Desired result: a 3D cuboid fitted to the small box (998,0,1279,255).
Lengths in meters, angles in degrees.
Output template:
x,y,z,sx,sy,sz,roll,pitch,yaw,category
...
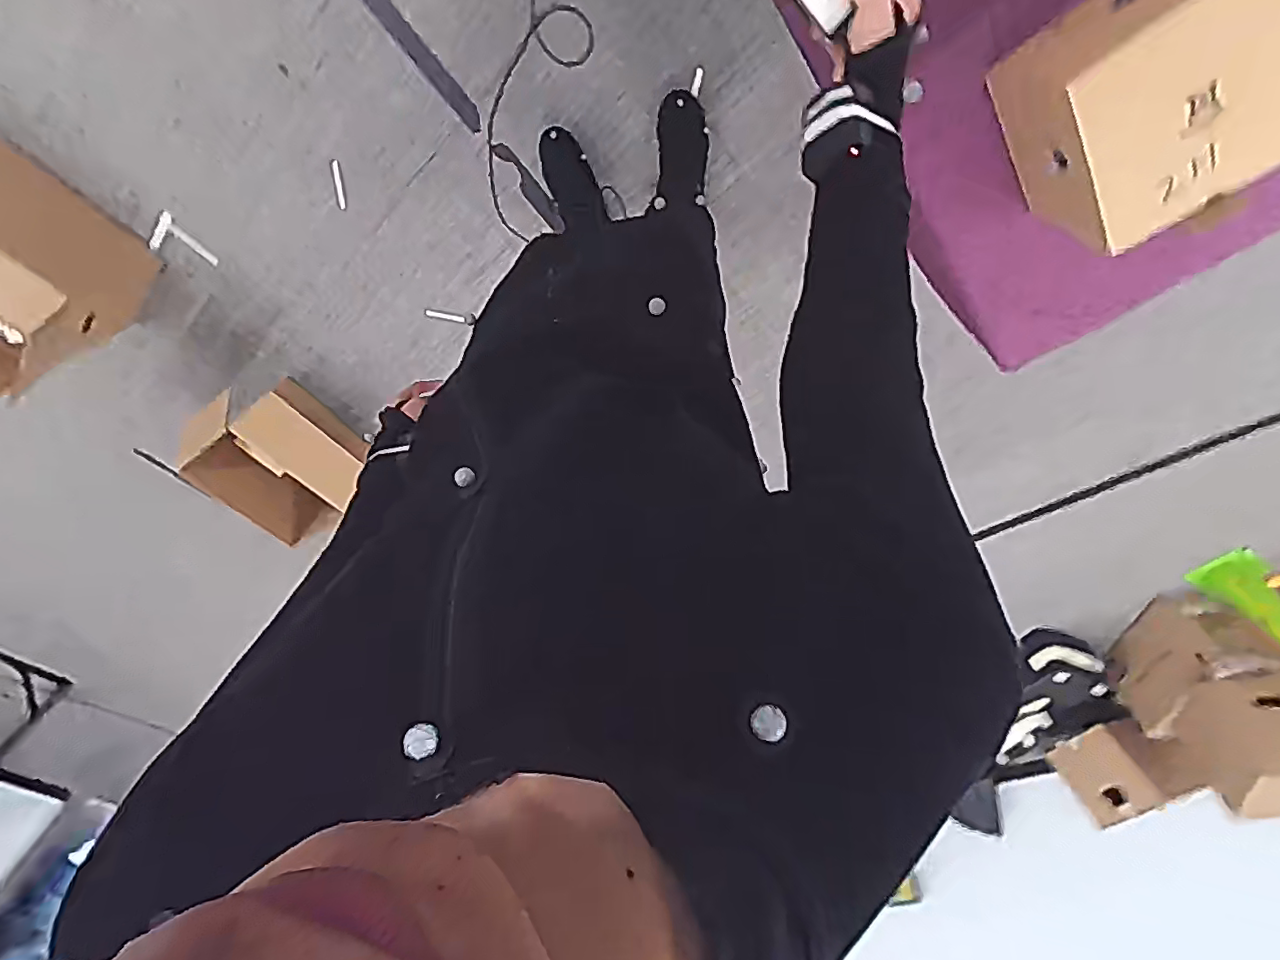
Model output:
x,y,z,sx,sy,sz,roll,pitch,yaw,category
0.475,-0.354,0.508,0.168,0.176,0.179,-28,122,26,small box
